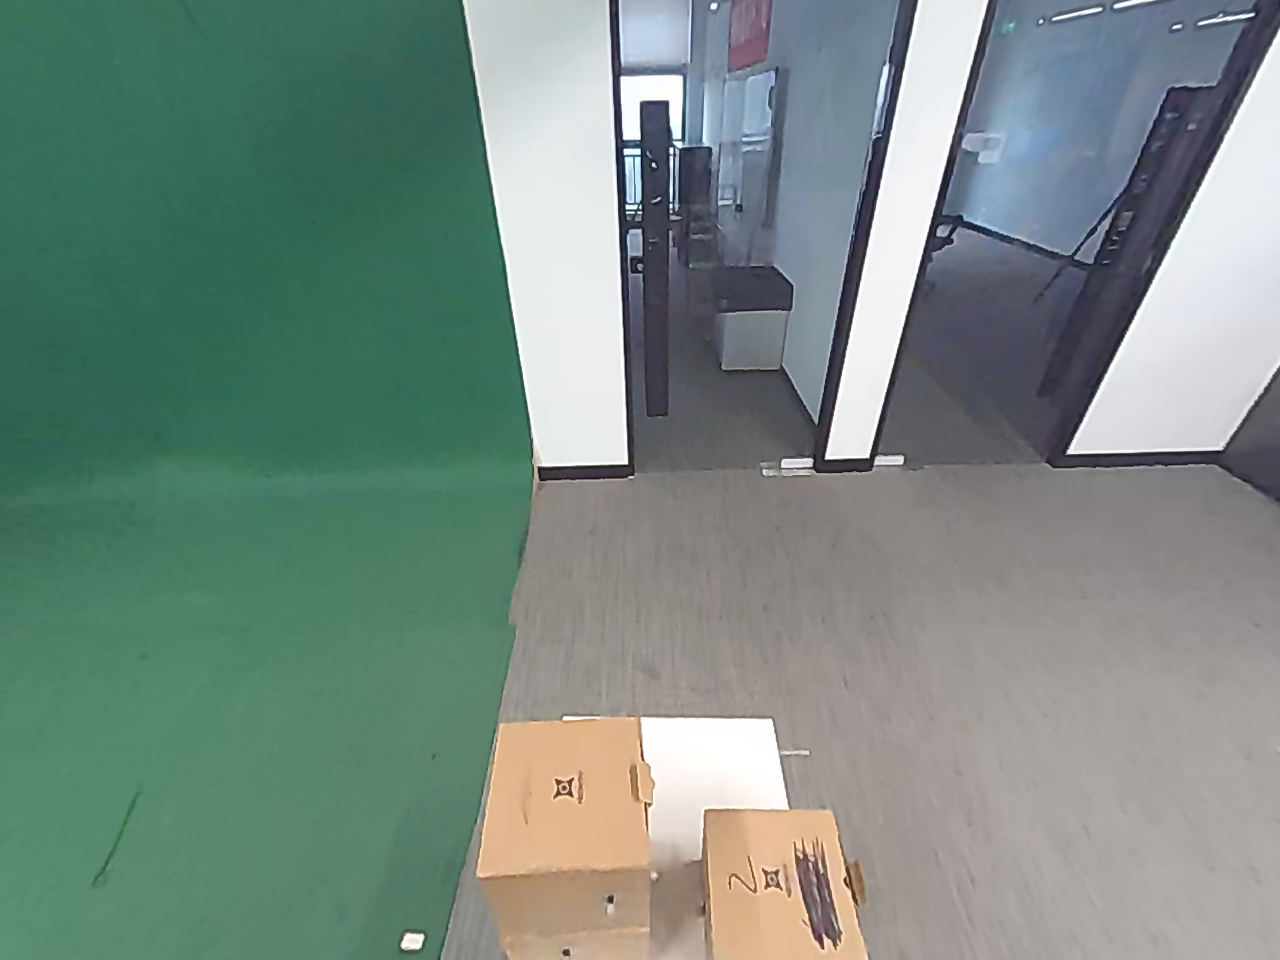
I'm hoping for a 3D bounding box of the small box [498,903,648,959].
[{"bbox_3d":[-0.080,0.549,0.737,0.179,0.176,0.168,-1,35,-2],"label":"small box"}]

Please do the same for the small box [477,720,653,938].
[{"bbox_3d":[-0.080,0.413,0.646,0.179,0.176,0.168,-2,34,-3],"label":"small box"}]
